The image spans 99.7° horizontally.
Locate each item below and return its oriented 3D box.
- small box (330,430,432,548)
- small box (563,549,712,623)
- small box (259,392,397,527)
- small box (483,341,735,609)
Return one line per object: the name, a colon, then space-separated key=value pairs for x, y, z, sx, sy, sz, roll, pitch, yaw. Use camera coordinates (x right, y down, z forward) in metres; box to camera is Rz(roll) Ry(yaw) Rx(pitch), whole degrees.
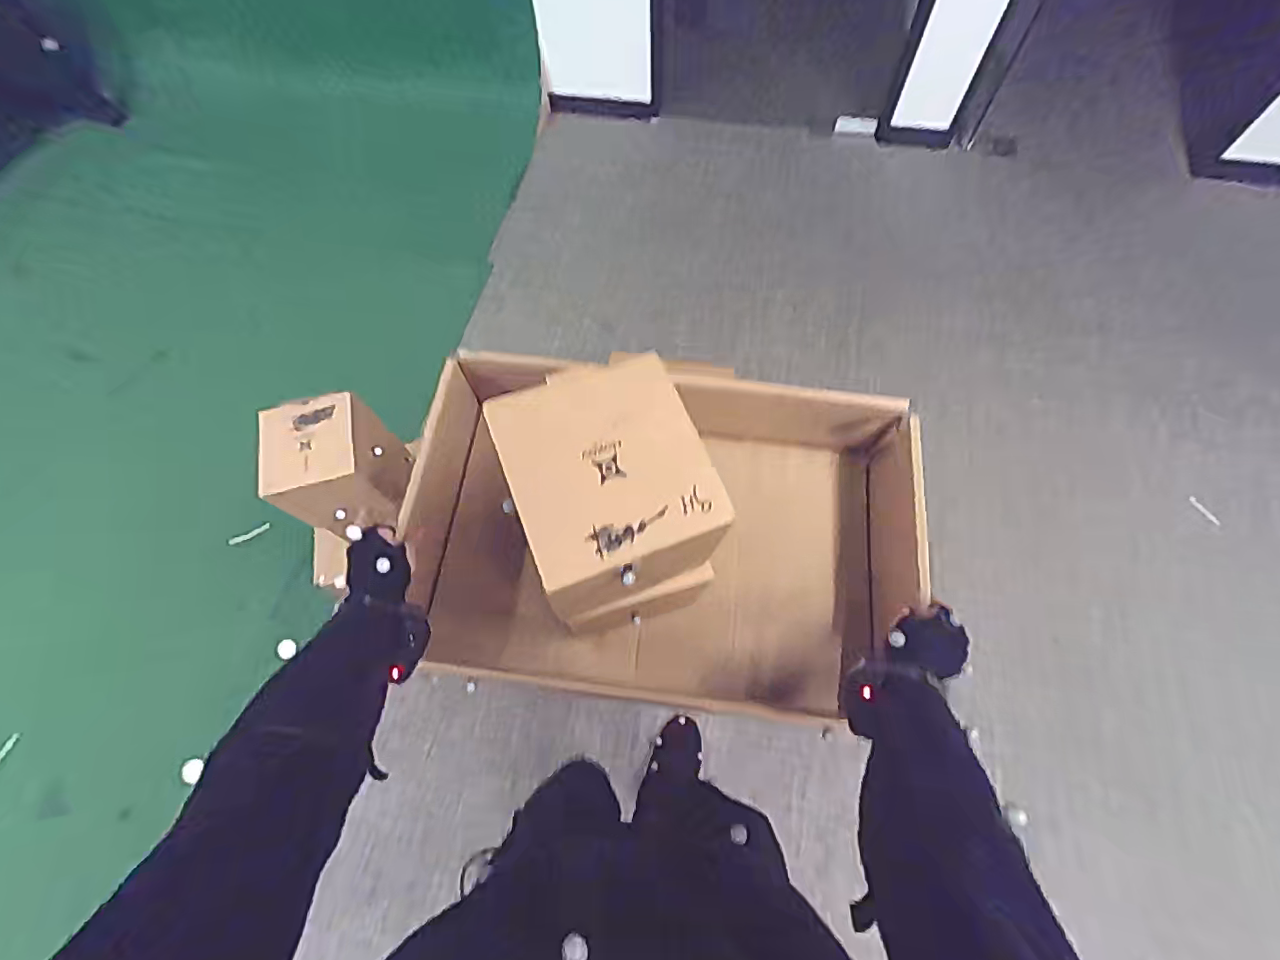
small box: x=-0.576 y=0.025 z=1.176 sx=0.168 sy=0.176 sz=0.179 roll=-19 pitch=66 yaw=-6
small box: x=-0.026 y=0.070 z=0.670 sx=0.168 sy=0.176 sz=0.179 roll=-15 pitch=69 yaw=-10
small box: x=-0.580 y=-0.034 z=1.021 sx=0.168 sy=0.176 sz=0.179 roll=-15 pitch=66 yaw=-3
small box: x=-0.034 y=0.004 z=0.519 sx=0.168 sy=0.176 sz=0.179 roll=-20 pitch=70 yaw=-11
